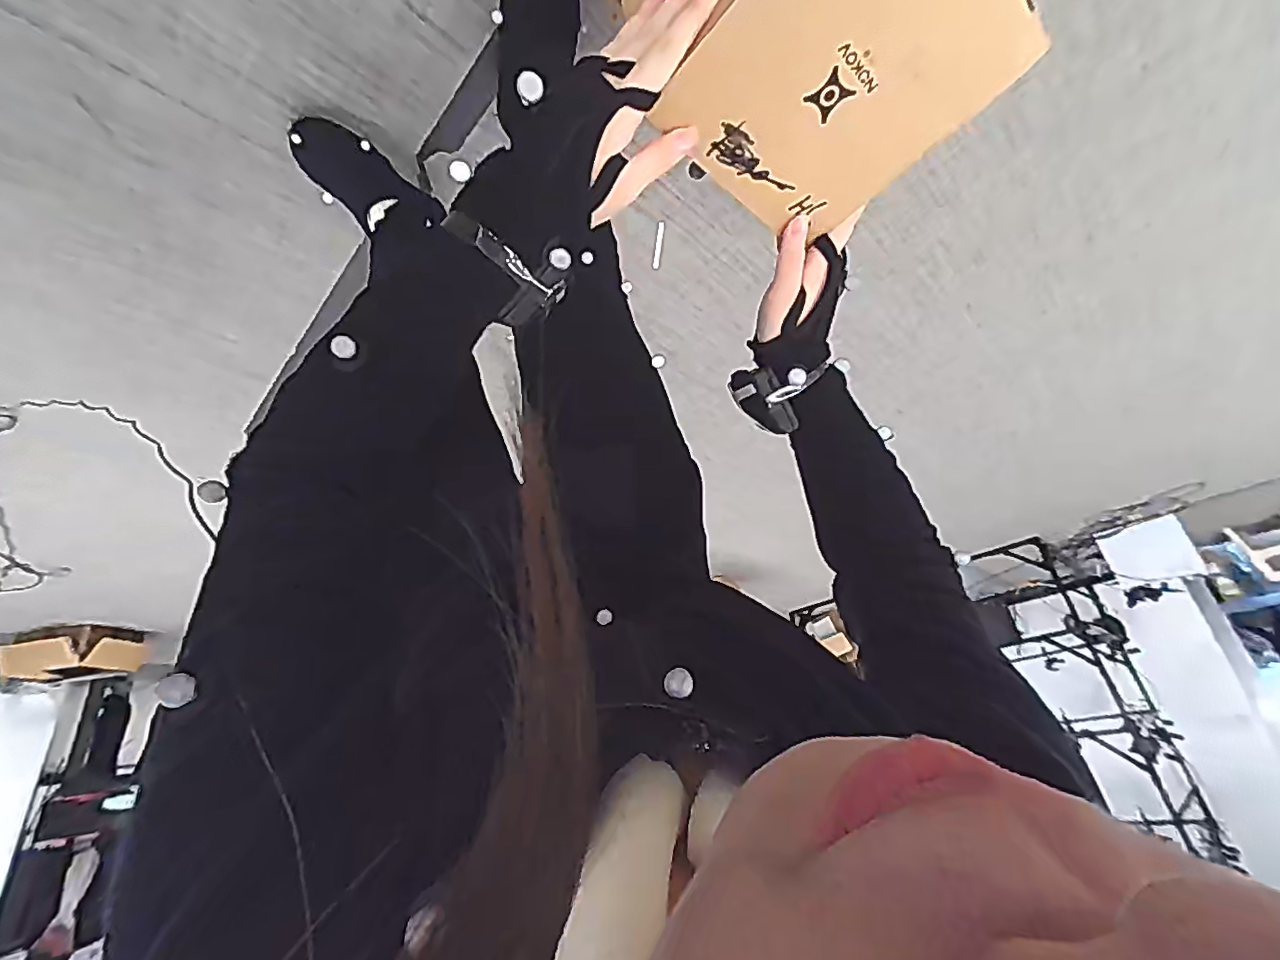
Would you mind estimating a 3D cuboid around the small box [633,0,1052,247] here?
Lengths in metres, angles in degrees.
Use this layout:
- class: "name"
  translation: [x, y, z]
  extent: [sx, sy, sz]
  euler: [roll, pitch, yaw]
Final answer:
- class: "small box"
  translation: [0.110, -0.303, 0.347]
  extent: [0.168, 0.176, 0.179]
  euler: [19, 143, -38]
